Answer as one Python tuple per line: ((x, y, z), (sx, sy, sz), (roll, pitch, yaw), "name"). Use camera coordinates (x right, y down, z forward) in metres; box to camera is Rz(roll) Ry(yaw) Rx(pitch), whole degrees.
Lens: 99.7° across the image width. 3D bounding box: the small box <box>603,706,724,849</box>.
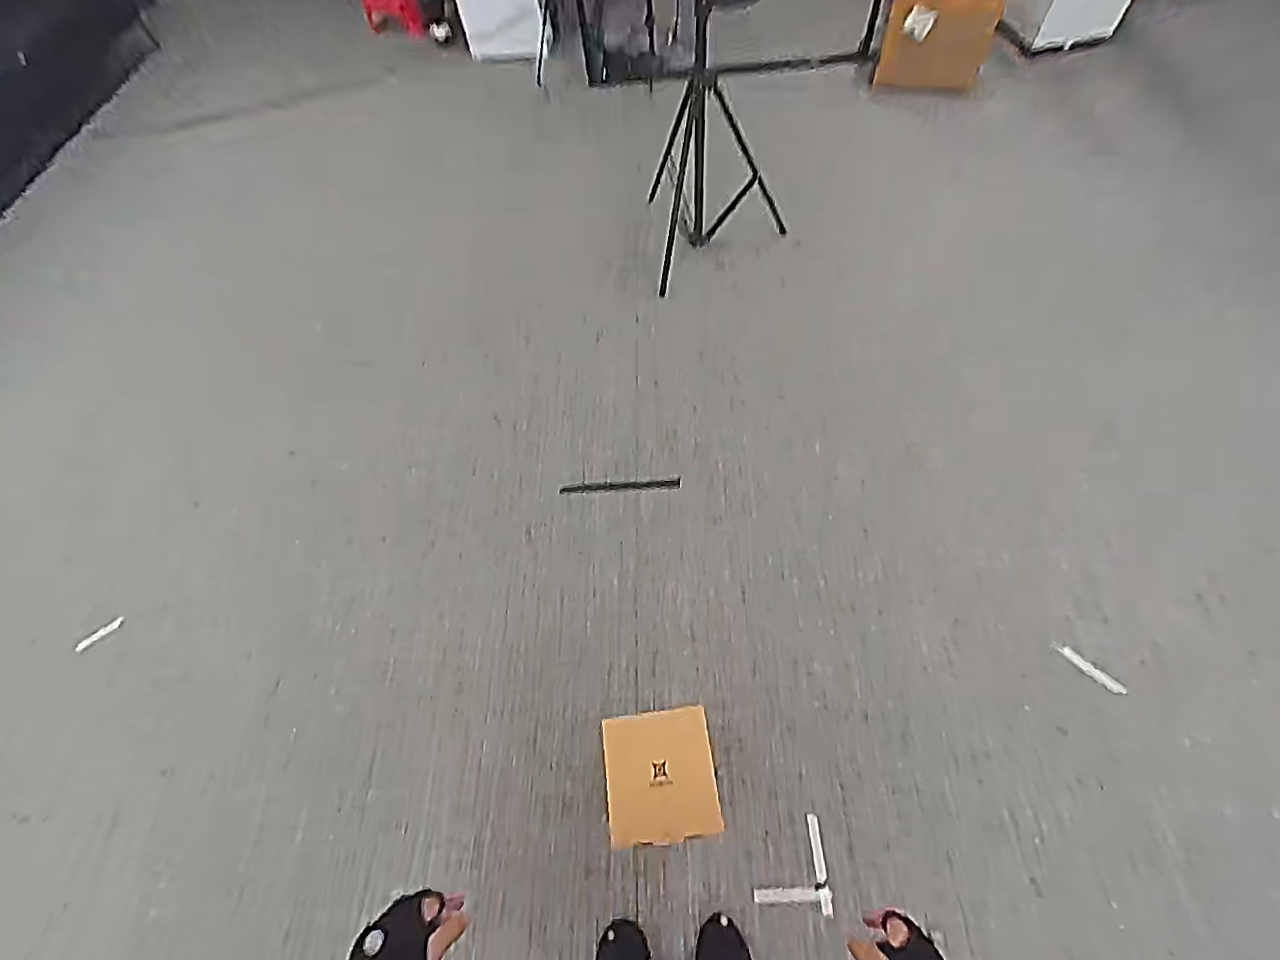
((0.036, 0.484, 0.882), (0.168, 0.176, 0.179), (-9, 60, 0), "small box")
